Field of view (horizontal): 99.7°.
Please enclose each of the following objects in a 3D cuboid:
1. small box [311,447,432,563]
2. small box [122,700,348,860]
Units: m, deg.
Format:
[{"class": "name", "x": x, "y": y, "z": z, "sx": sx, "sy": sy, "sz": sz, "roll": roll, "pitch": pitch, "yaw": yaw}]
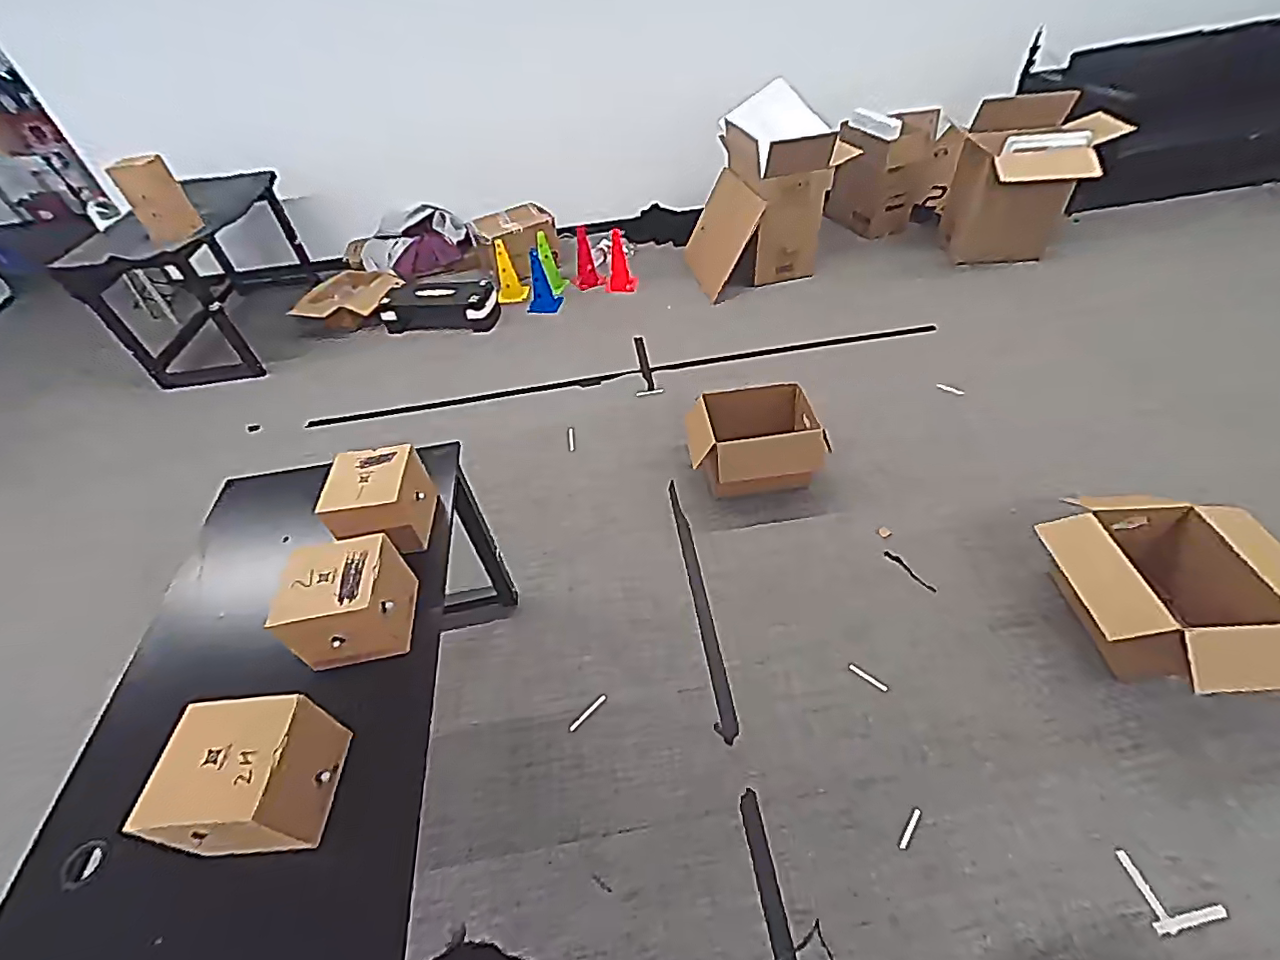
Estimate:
[{"class": "small box", "x": -0.571, "y": 0.055, "z": 1.179, "sx": 0.168, "sy": 0.176, "sz": 0.179, "roll": -9, "pitch": 47, "yaw": -1}, {"class": "small box", "x": -0.577, "y": 0.447, "z": 0.803, "sx": 0.179, "sy": 0.176, "sz": 0.168, "roll": -6, "pitch": 46, "yaw": 1}]
